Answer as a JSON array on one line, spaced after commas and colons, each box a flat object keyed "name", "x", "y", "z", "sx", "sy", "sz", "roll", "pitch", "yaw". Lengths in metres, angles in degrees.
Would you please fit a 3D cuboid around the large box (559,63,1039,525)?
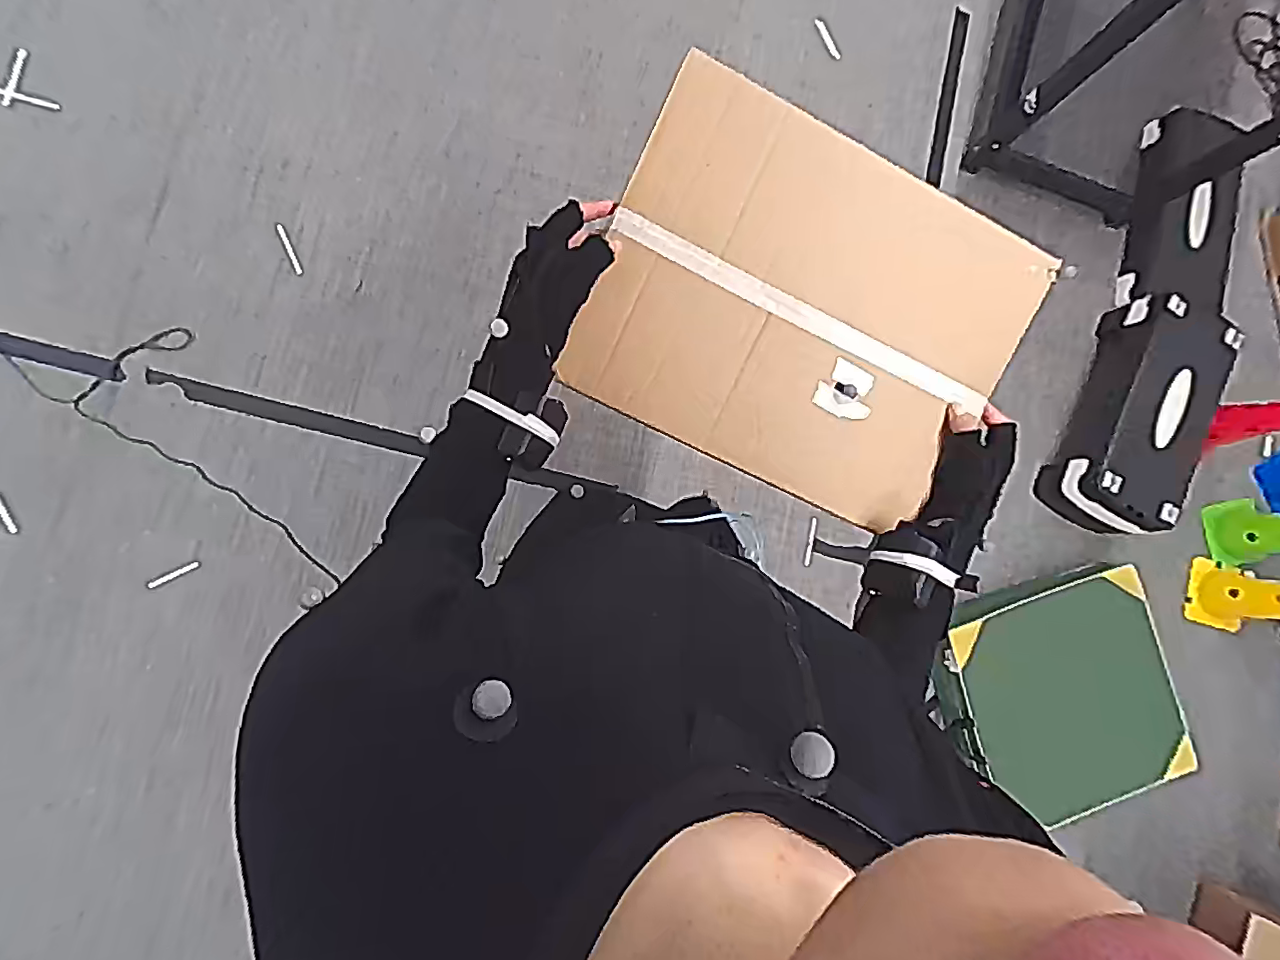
[{"name": "large box", "x": 0.148, "y": -0.190, "z": 0.679, "sx": 0.408, "sy": 0.320, "sz": 0.320, "roll": 25, "pitch": 98, "yaw": -8}]
